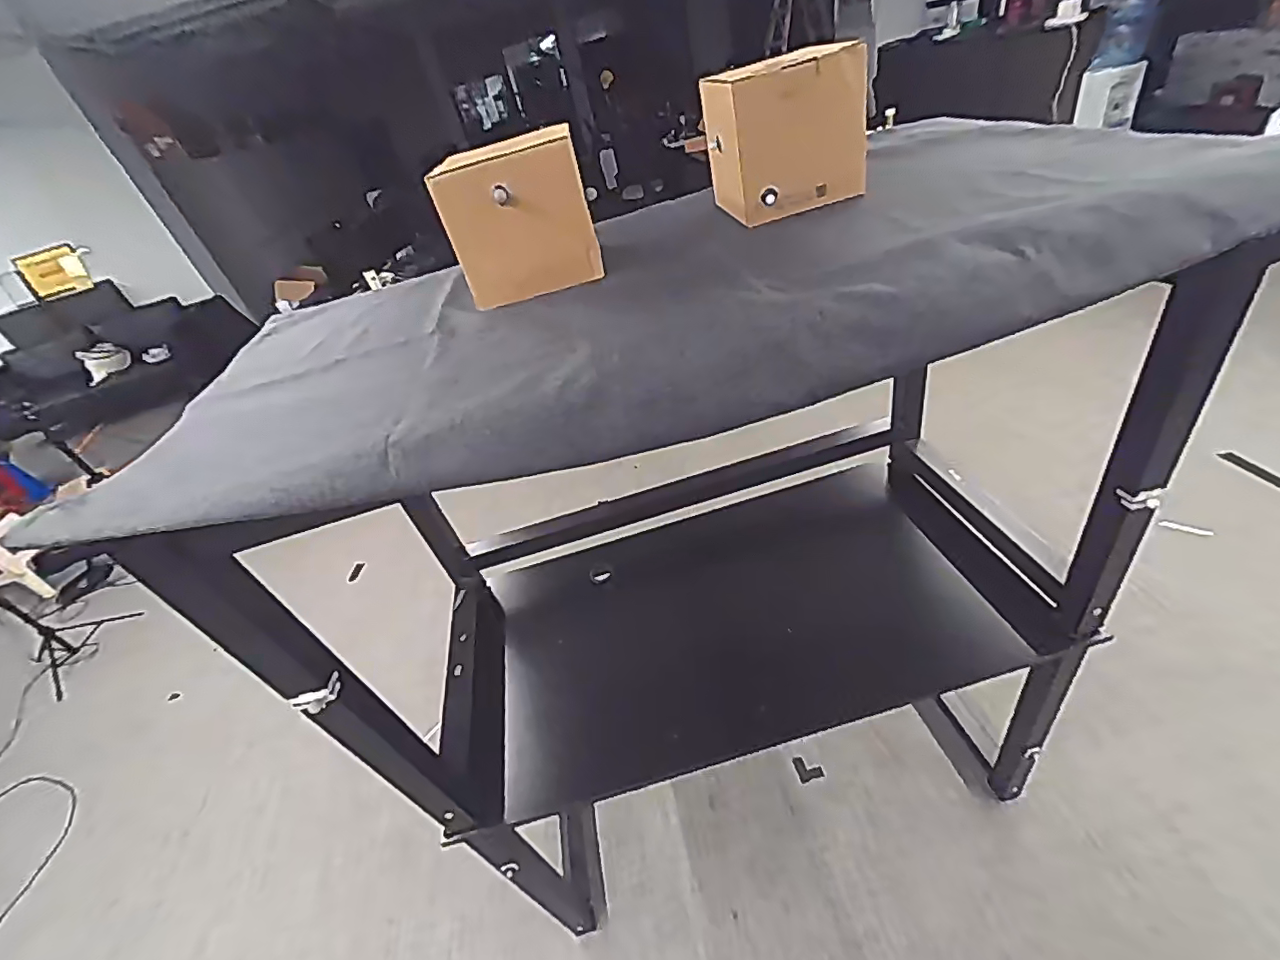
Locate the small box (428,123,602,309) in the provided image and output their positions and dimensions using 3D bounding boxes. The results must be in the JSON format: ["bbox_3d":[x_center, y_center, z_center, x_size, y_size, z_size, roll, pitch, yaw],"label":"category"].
[{"bbox_3d":[-0.152,-0.355,0.730,0.179,0.176,0.168,-14,38,4],"label":"small box"}]

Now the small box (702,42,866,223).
[{"bbox_3d":[0.195,-0.472,0.746,0.168,0.176,0.179,-15,37,2],"label":"small box"}]
